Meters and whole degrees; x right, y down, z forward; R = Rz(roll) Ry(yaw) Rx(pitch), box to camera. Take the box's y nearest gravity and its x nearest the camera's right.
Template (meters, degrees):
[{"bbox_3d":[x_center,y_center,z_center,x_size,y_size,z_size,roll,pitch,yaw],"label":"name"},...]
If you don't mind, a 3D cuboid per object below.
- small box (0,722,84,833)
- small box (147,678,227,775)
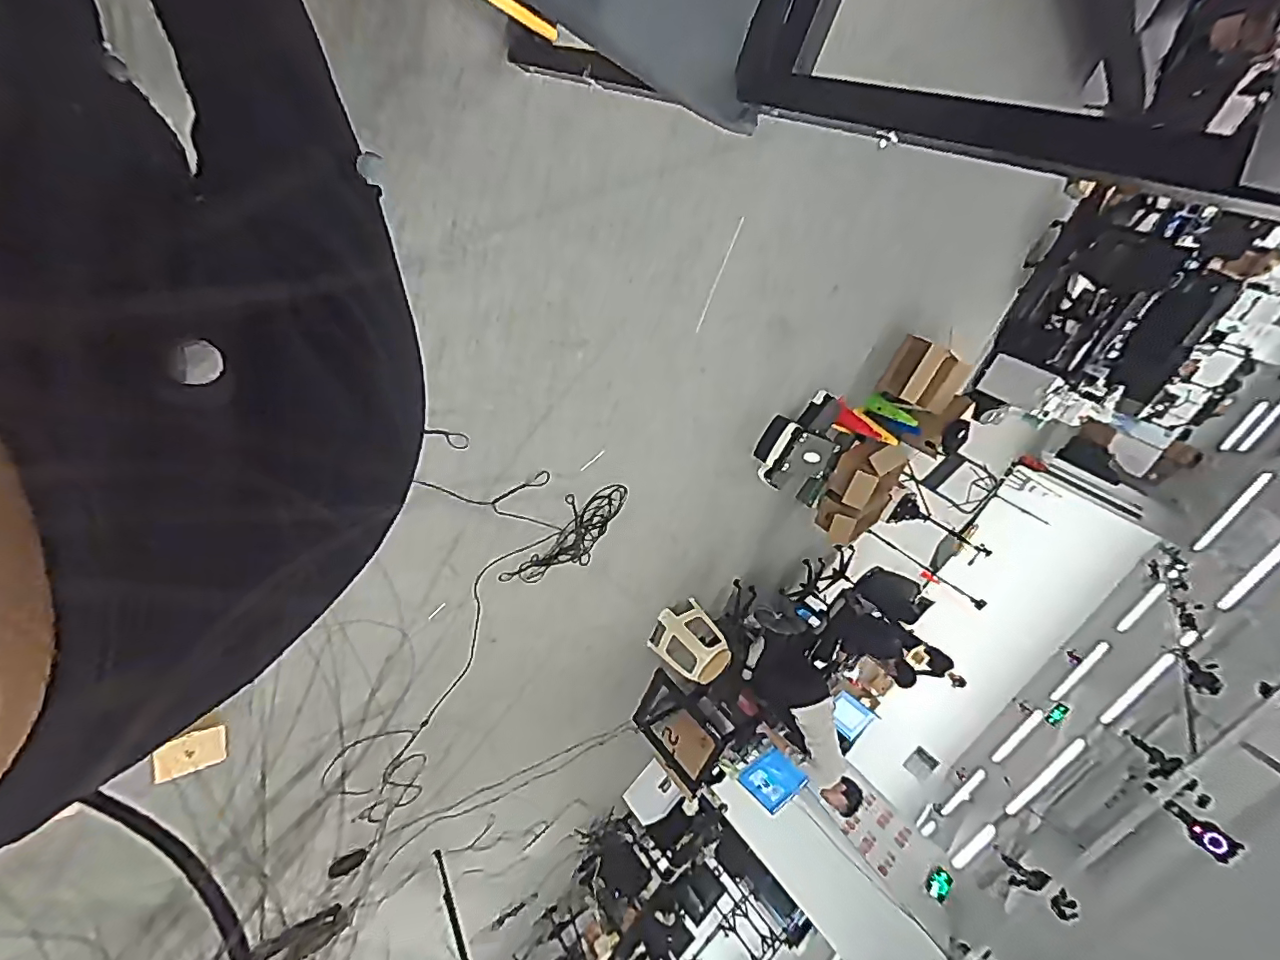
[{"bbox_3d":[-1.591,0.764,1.410,0.168,0.176,0.179,-12,131,-41],"label":"small box"},{"bbox_3d":[-1.369,0.739,1.636,0.168,0.176,0.179,-8,127,-45],"label":"small box"}]
